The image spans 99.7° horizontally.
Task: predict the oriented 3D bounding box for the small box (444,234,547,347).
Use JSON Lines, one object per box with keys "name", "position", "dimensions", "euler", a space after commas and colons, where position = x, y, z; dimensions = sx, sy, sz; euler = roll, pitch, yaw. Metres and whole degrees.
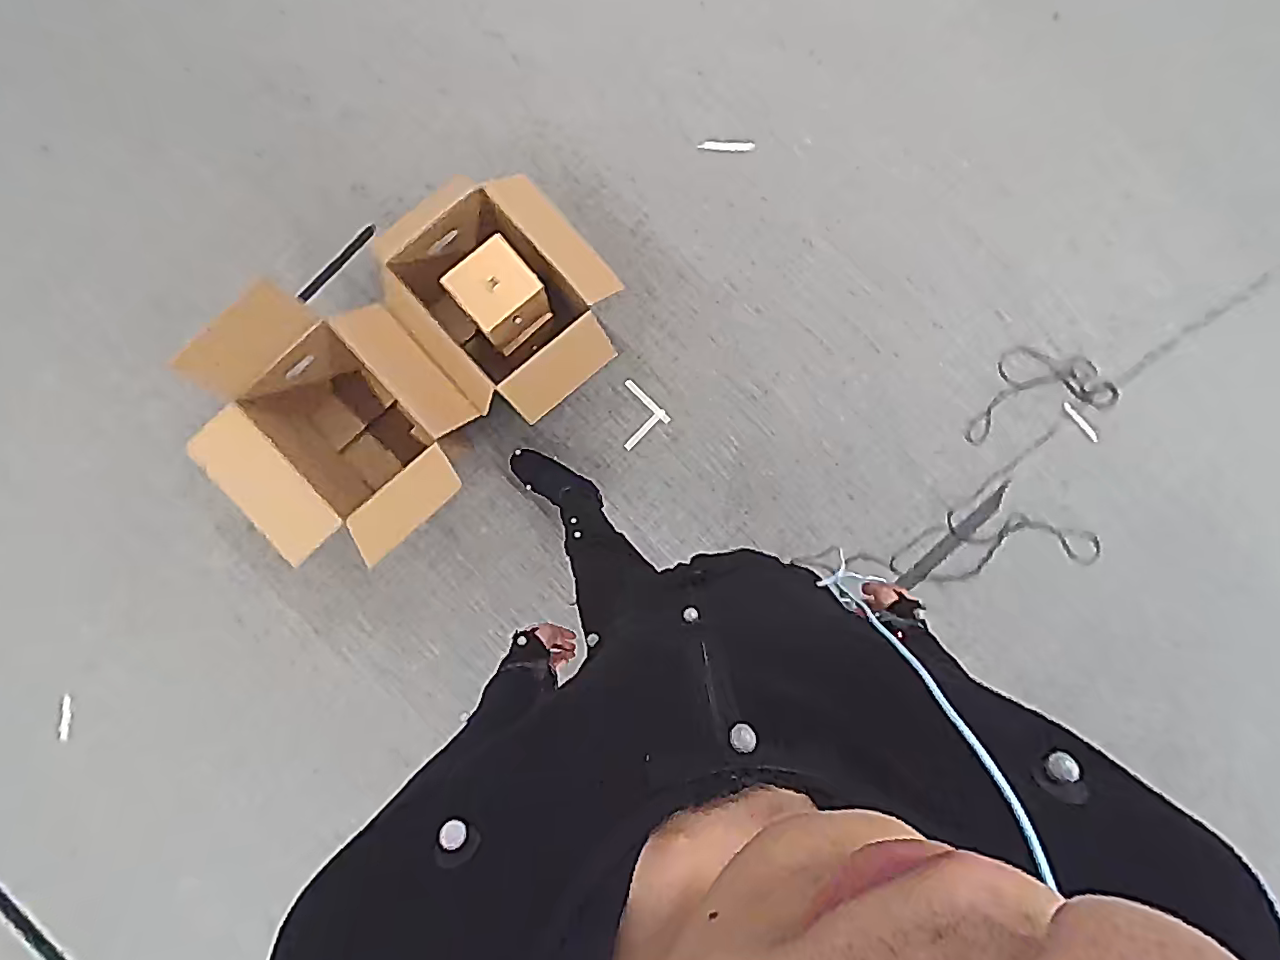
{"name": "small box", "position": [-0.346, -0.459, 1.334], "dimensions": [0.179, 0.176, 0.168], "euler": [-41, 93, -2]}
